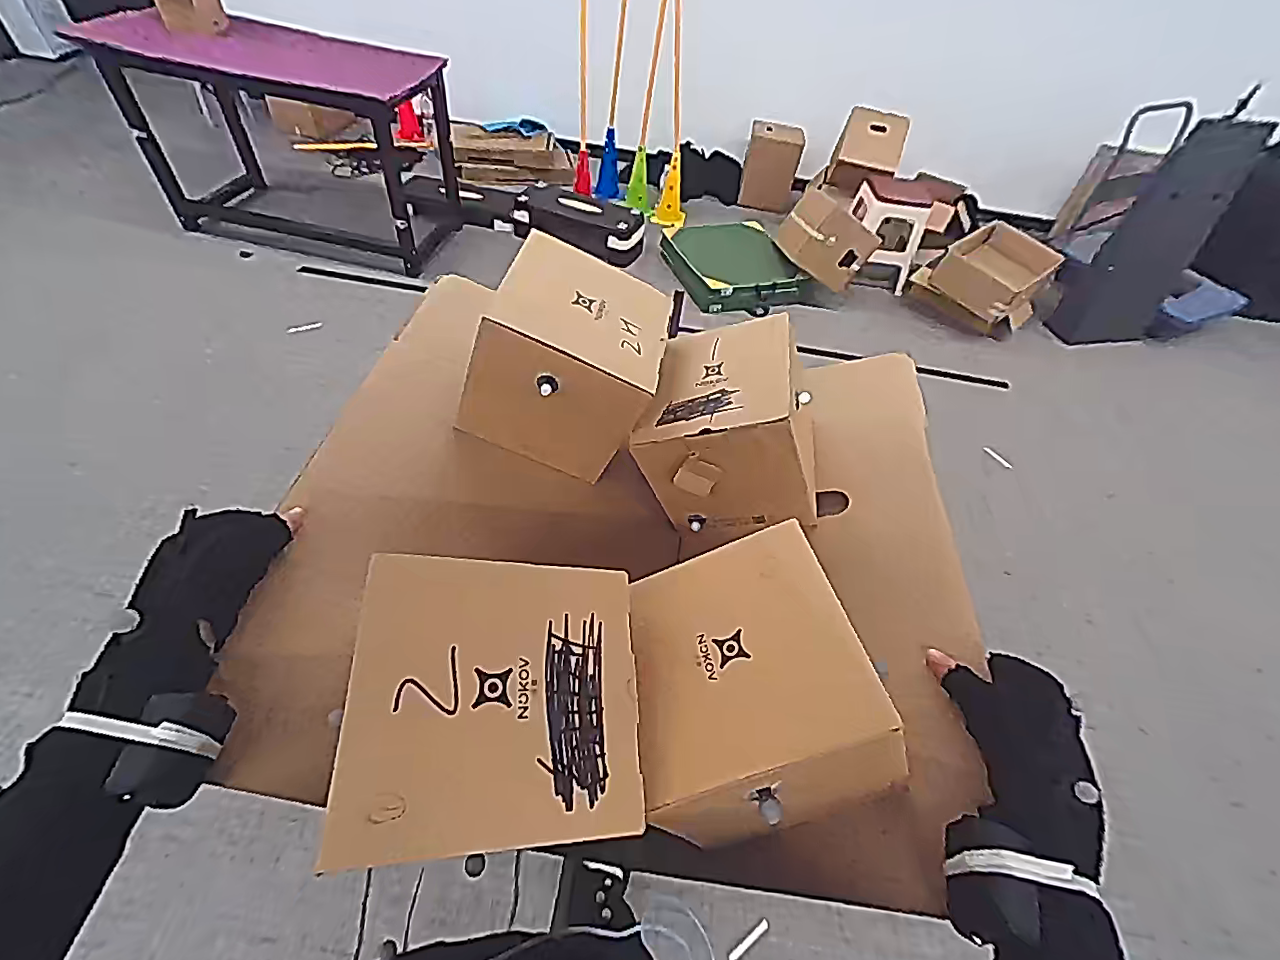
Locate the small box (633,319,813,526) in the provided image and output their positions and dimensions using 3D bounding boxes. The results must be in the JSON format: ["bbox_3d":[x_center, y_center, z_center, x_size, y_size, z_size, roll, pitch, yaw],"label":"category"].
[{"bbox_3d":[0.109,-0.057,0.646,0.168,0.176,0.179,-7,47,23],"label":"small box"}]
